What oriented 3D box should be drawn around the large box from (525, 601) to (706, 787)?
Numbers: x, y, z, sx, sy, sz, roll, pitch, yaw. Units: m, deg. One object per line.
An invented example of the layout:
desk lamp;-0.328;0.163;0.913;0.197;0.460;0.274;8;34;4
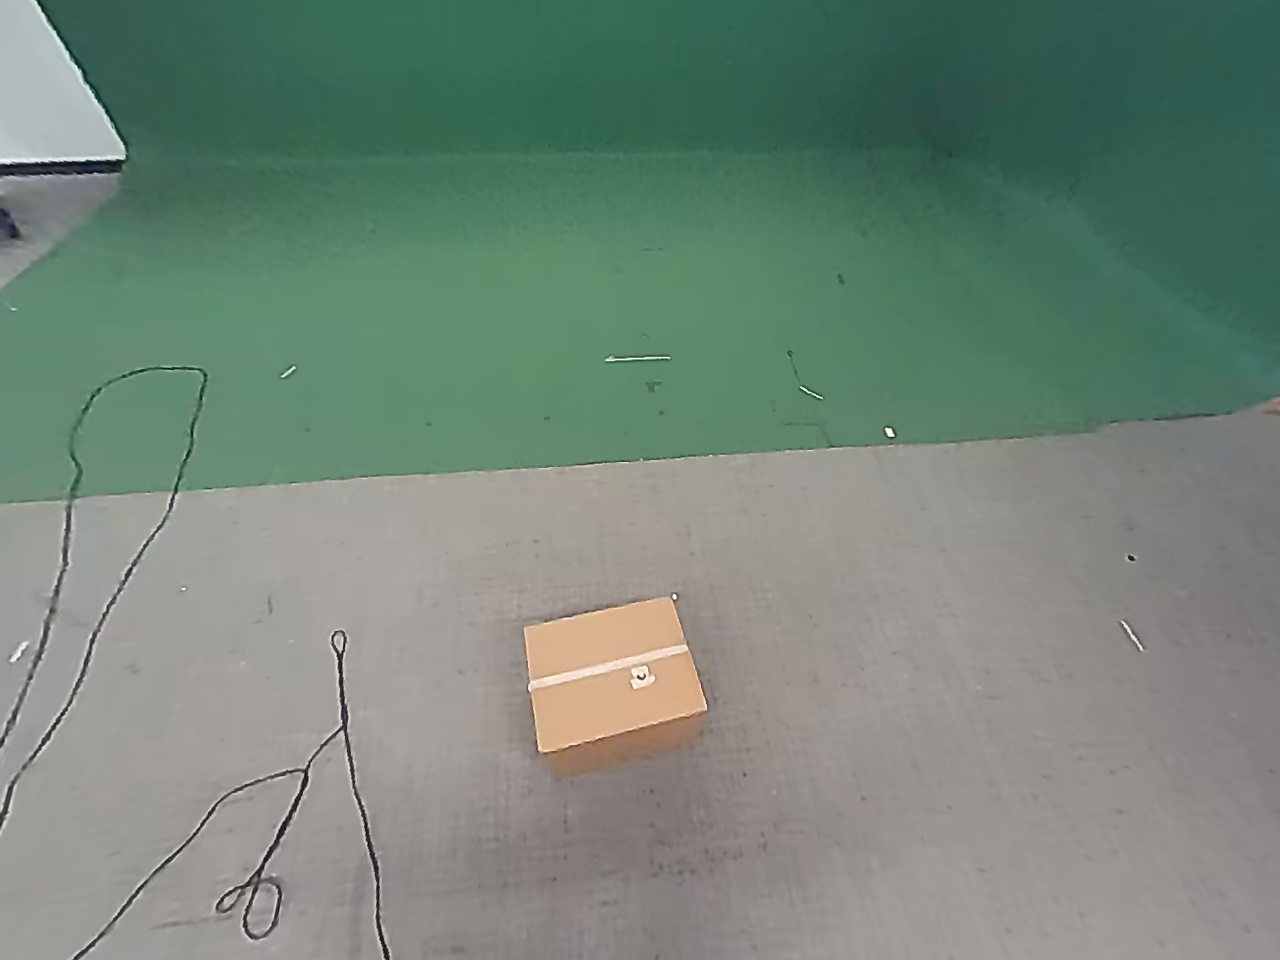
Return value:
large box;-0.073;0.575;1.455;0.408;0.320;0.320;-10;50;-10
